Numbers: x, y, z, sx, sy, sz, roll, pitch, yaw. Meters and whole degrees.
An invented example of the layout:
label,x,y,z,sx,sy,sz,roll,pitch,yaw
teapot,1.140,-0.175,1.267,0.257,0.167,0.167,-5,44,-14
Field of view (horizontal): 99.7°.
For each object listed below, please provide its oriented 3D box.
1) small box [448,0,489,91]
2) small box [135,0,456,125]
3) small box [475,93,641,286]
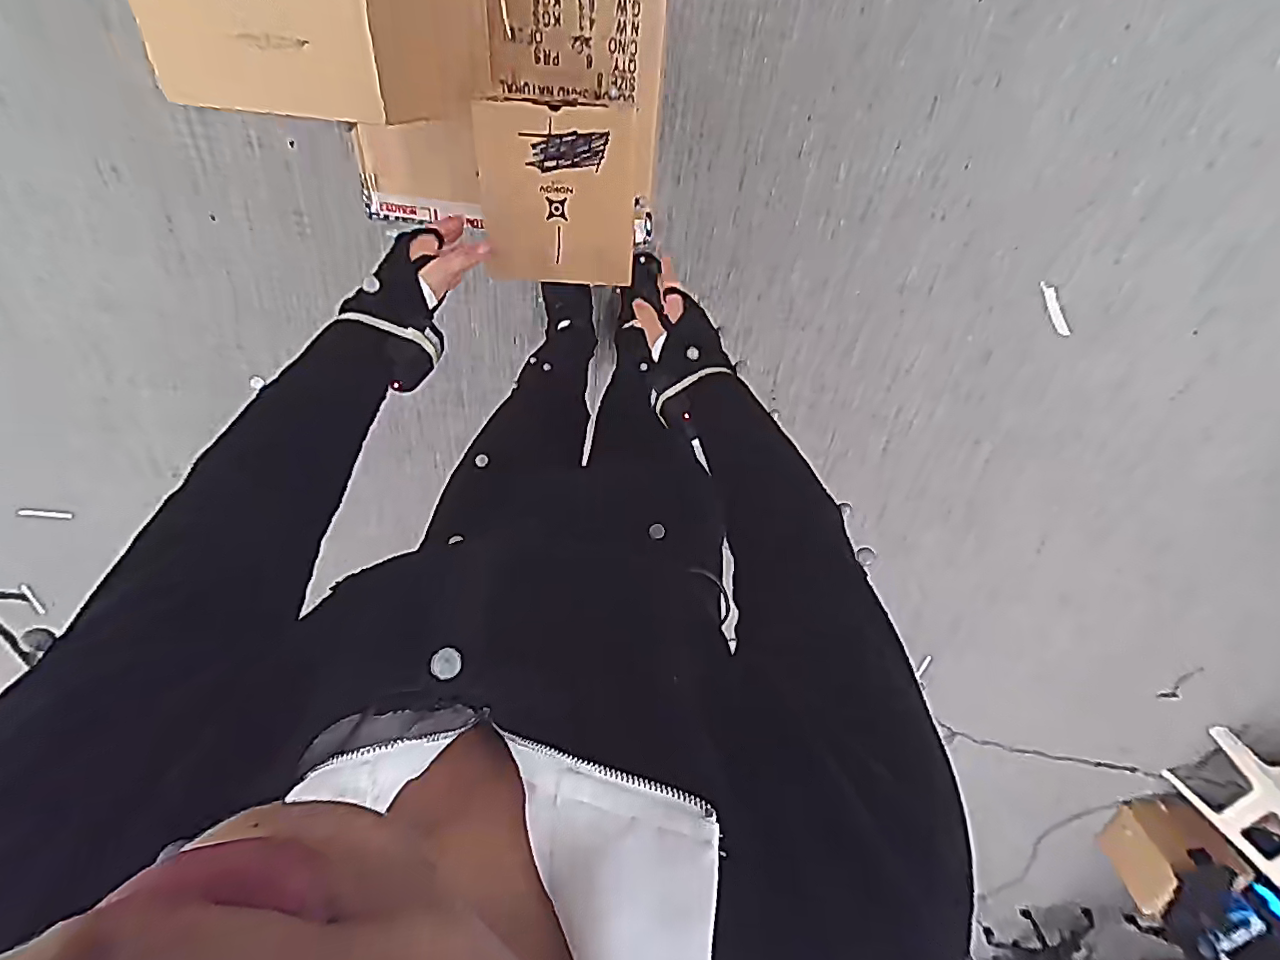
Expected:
label,x,y,z,sx,sy,sz,roll,pitch,yaw
small box,-0.255,-0.502,0.536,0.168,0.176,0.179,5,126,-2
small box,-0.255,-0.390,0.416,0.168,0.176,0.179,5,127,-1
small box,-0.088,-0.348,0.644,0.168,0.176,0.179,3,126,-2
